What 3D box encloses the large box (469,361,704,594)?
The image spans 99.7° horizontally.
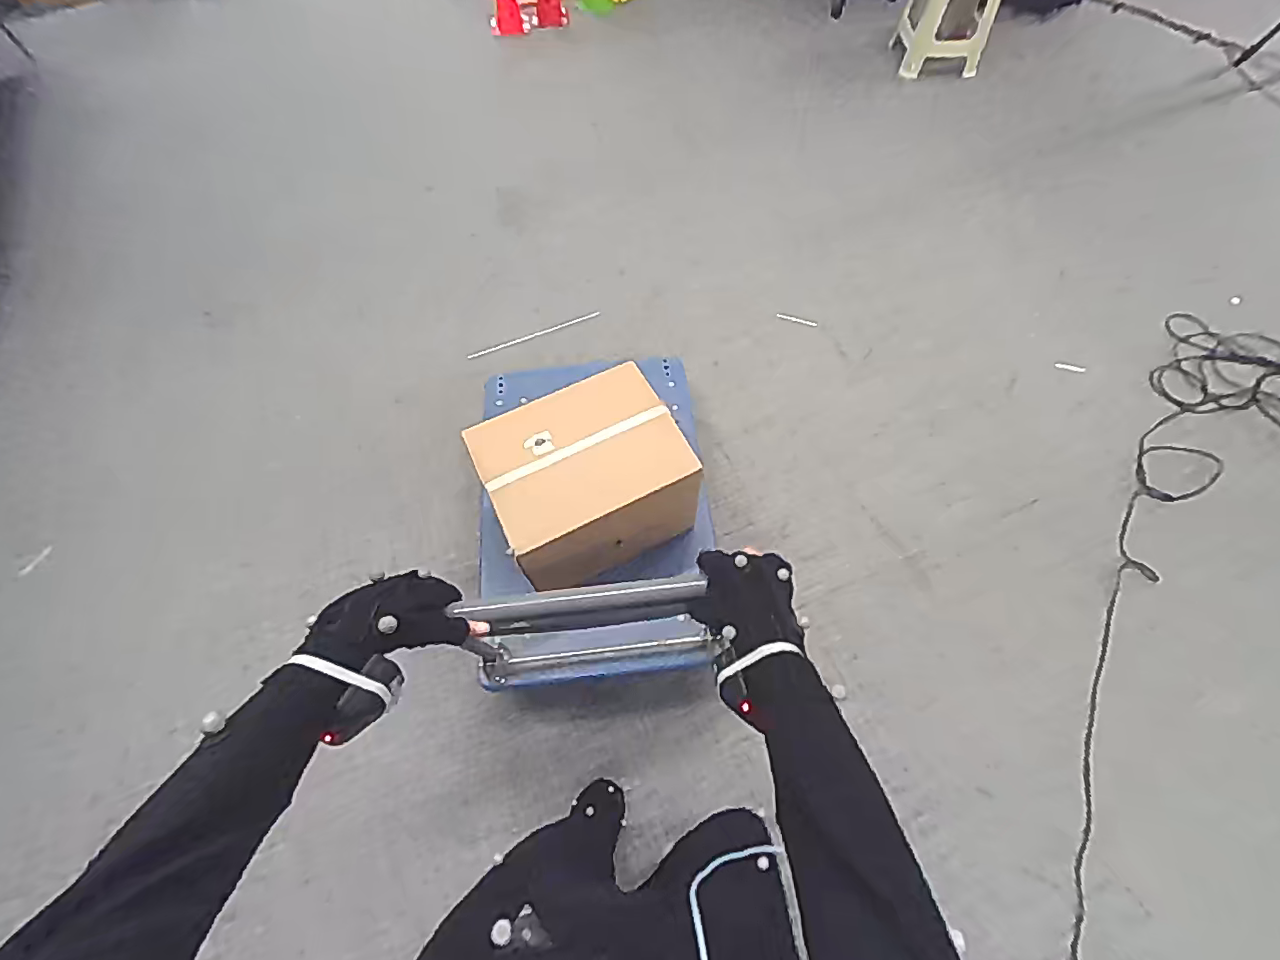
[{"bbox_3d":[-0.109,0.004,1.236,0.408,0.320,0.320,-26,65,-10],"label":"large box"}]
